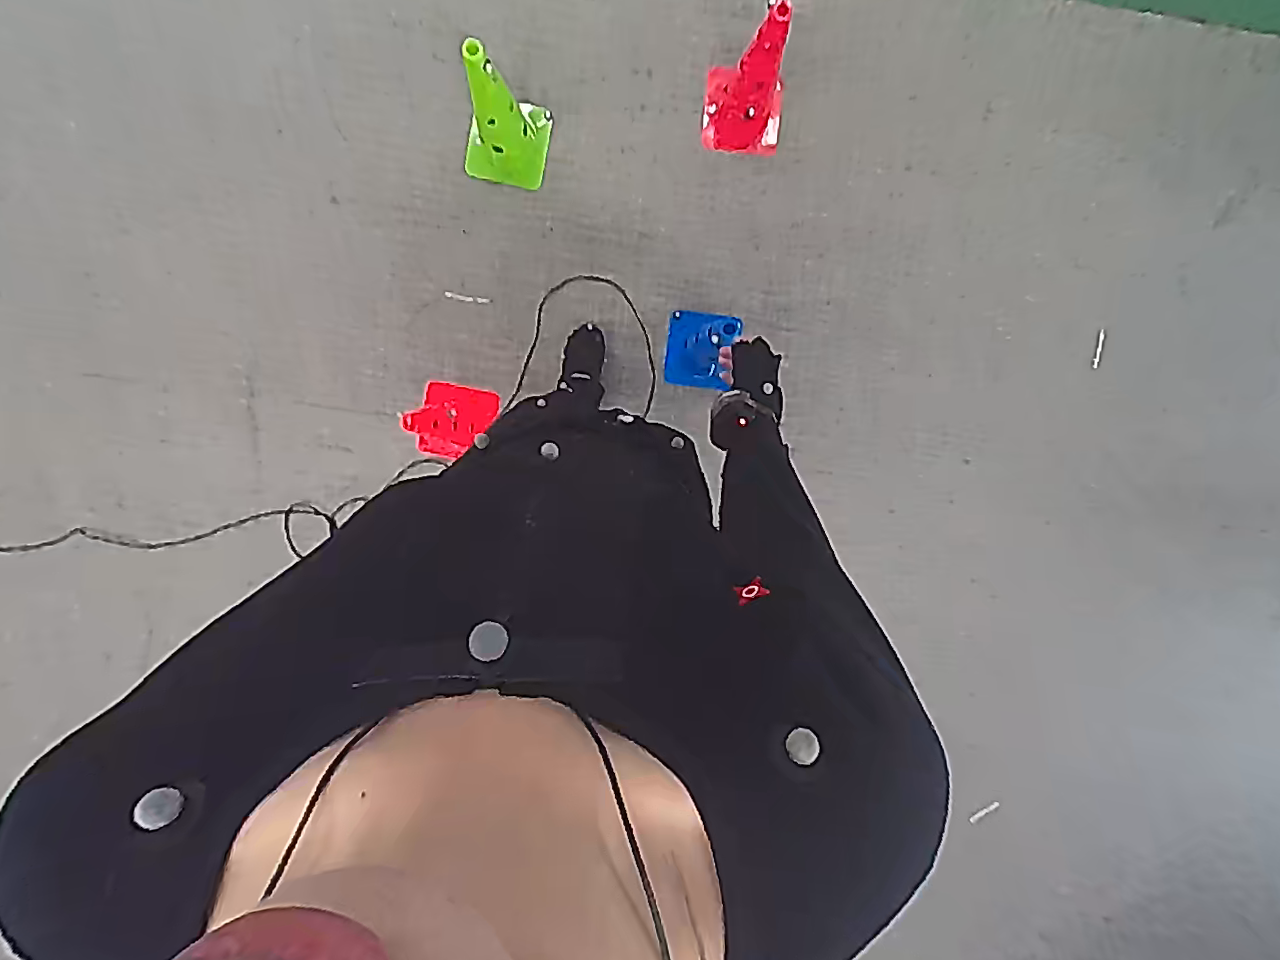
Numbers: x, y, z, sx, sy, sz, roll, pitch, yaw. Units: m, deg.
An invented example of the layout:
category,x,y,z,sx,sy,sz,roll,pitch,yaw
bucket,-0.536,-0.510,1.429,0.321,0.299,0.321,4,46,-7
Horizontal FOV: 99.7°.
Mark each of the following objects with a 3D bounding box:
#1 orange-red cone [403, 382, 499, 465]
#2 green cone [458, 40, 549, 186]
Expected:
category,x,y,z,sx,sy,sz,roll,pitch,yaw
orange-red cone,-0.480,-0.136,1.283,0.198,0.360,0.199,12,94,-5
green cone,-0.339,-0.850,1.211,0.200,0.368,0.202,10,96,-3
